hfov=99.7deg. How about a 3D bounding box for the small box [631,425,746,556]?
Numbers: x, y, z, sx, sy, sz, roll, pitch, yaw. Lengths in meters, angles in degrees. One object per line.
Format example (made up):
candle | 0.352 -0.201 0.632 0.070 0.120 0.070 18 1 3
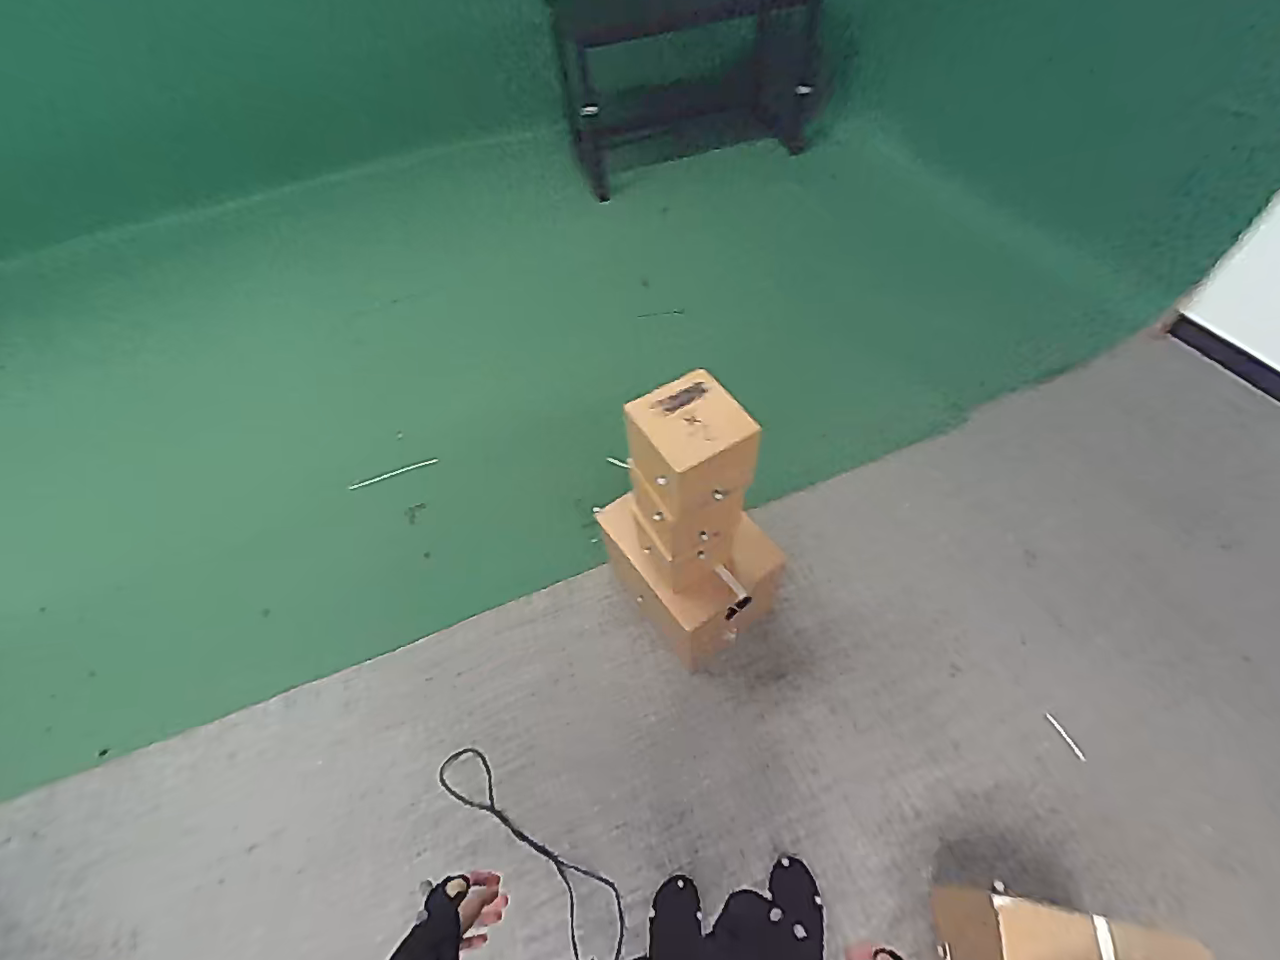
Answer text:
small box | 0.096 0.025 1.116 0.168 0.176 0.179 -26 57 -13

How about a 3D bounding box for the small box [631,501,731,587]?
small box | 0.100 0.118 1.249 0.179 0.176 0.168 -27 57 -13

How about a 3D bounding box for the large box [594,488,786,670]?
large box | 0.130 0.228 1.470 0.320 0.320 0.408 -31 57 -18
